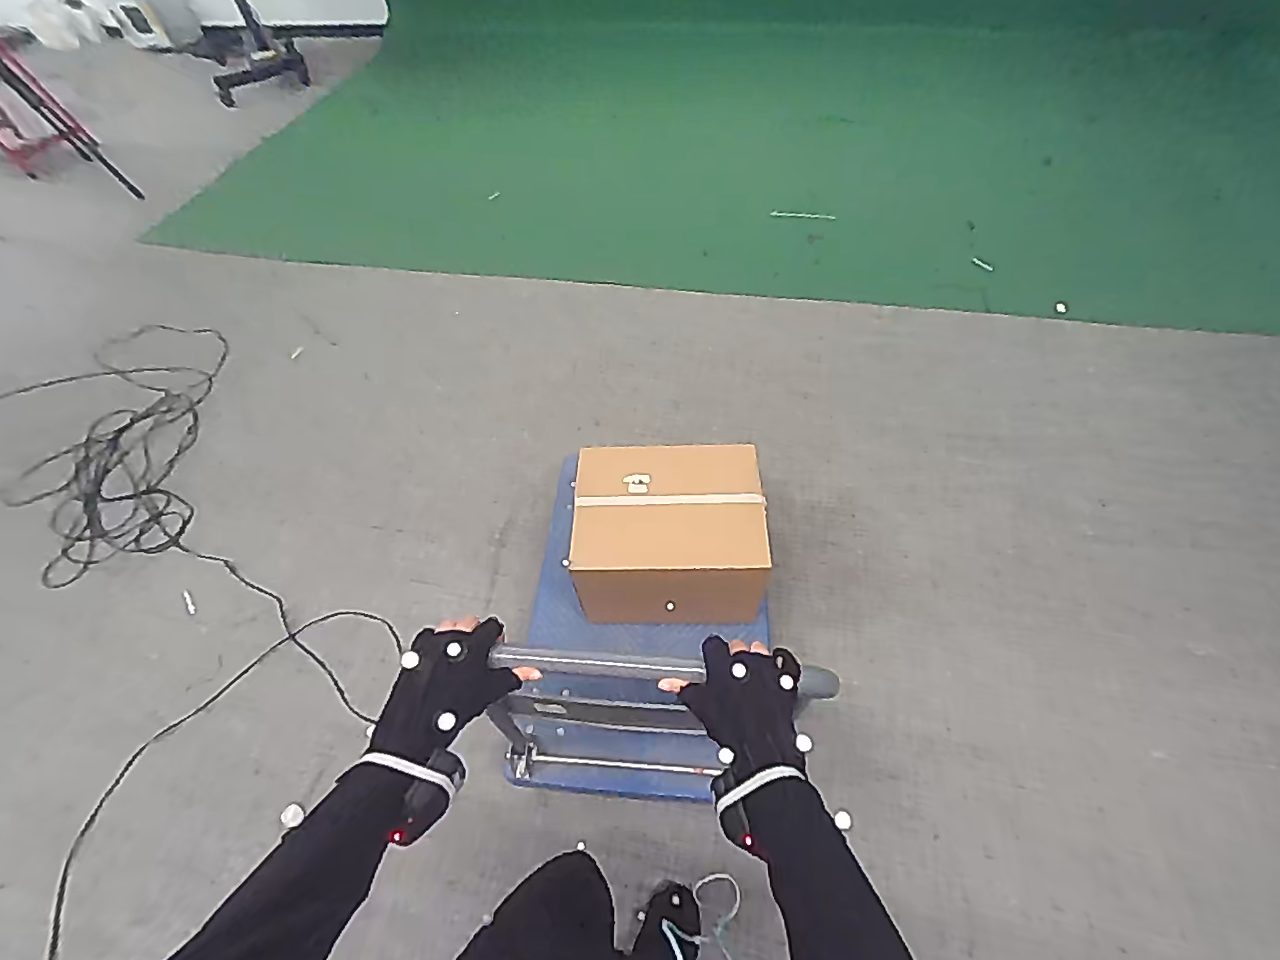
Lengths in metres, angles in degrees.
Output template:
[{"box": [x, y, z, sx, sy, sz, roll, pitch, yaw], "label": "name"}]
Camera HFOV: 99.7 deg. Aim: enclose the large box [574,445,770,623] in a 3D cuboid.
[{"box": [0.073, 0.138, 1.292, 0.408, 0.320, 0.320, -3, 55, 3], "label": "large box"}]
